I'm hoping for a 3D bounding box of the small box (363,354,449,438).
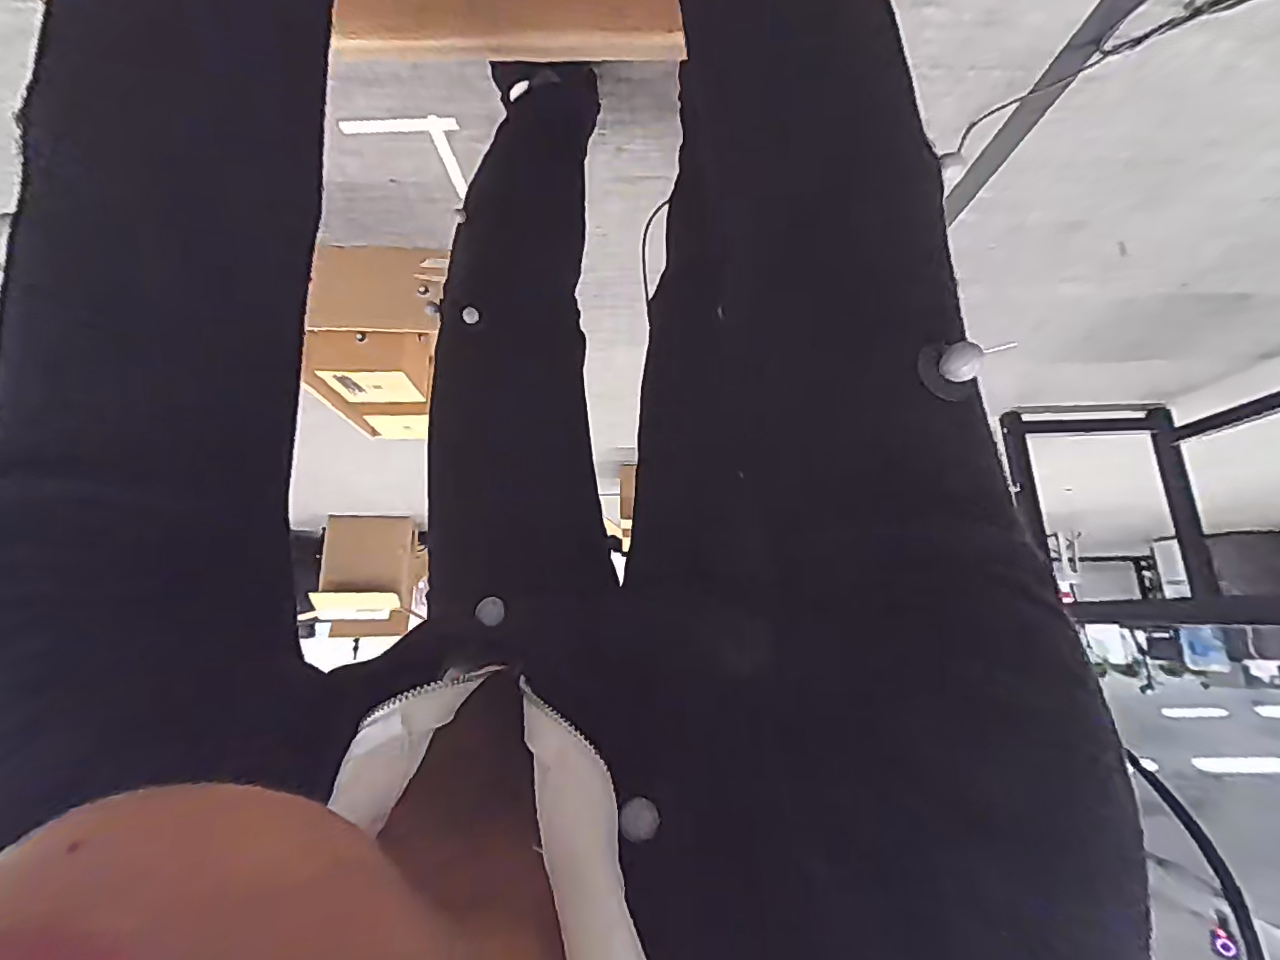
[{"bbox_3d":[-0.613,-0.220,1.441,0.168,0.176,0.179,-2,164,-6],"label":"small box"}]
